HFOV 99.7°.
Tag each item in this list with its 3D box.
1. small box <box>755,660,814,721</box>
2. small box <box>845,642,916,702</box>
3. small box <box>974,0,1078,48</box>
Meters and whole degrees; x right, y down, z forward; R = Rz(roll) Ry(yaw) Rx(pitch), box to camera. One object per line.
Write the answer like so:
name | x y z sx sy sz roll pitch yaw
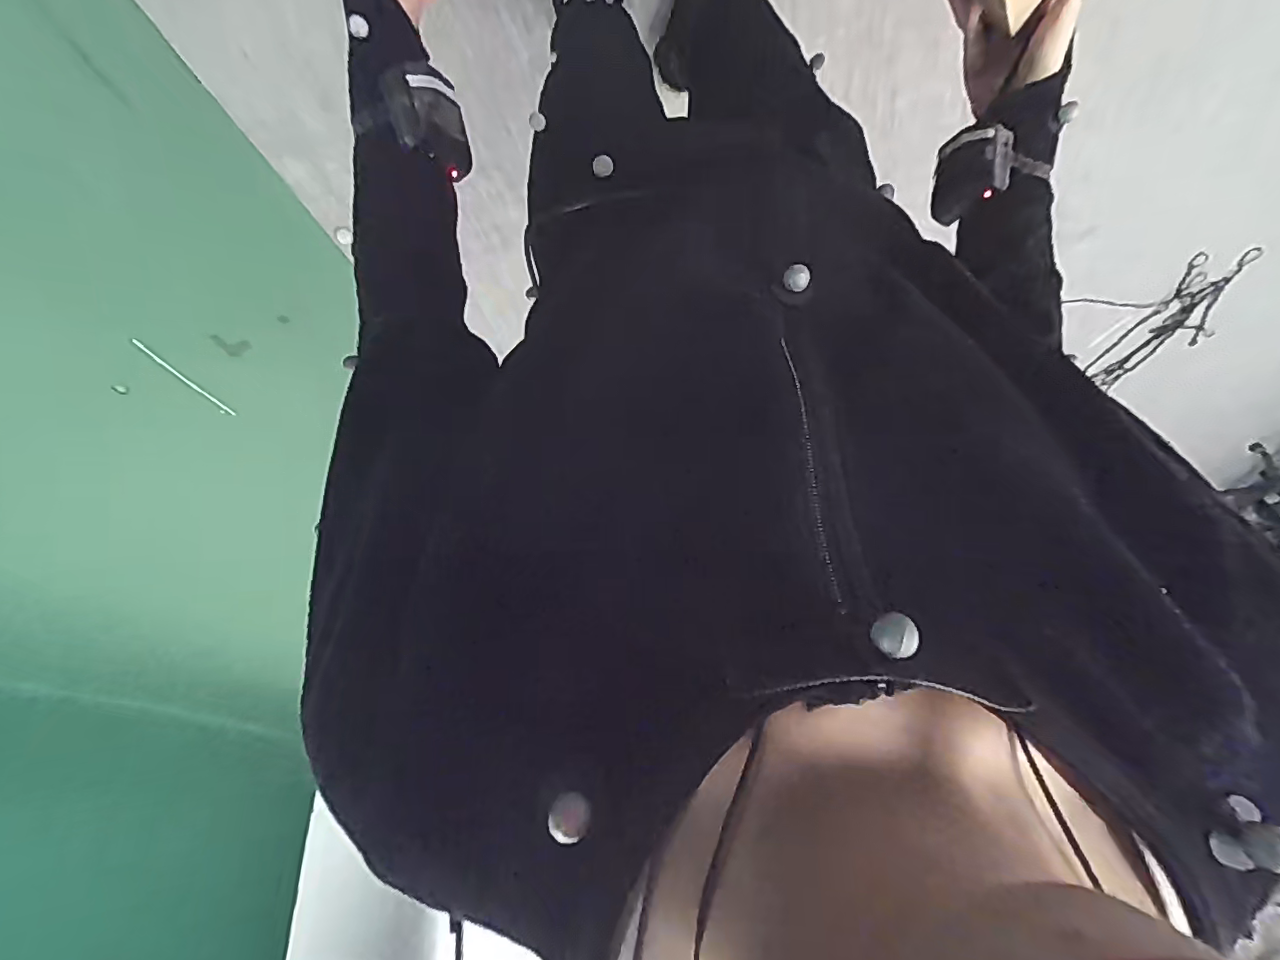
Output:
small box | 0.566 0.821 2.116 0.179 0.176 0.168 -17 141 7
small box | 0.926 0.742 2.095 0.179 0.176 0.168 -7 142 -2
small box | 0.280 -0.455 0.352 0.168 0.176 0.179 -16 162 -50
